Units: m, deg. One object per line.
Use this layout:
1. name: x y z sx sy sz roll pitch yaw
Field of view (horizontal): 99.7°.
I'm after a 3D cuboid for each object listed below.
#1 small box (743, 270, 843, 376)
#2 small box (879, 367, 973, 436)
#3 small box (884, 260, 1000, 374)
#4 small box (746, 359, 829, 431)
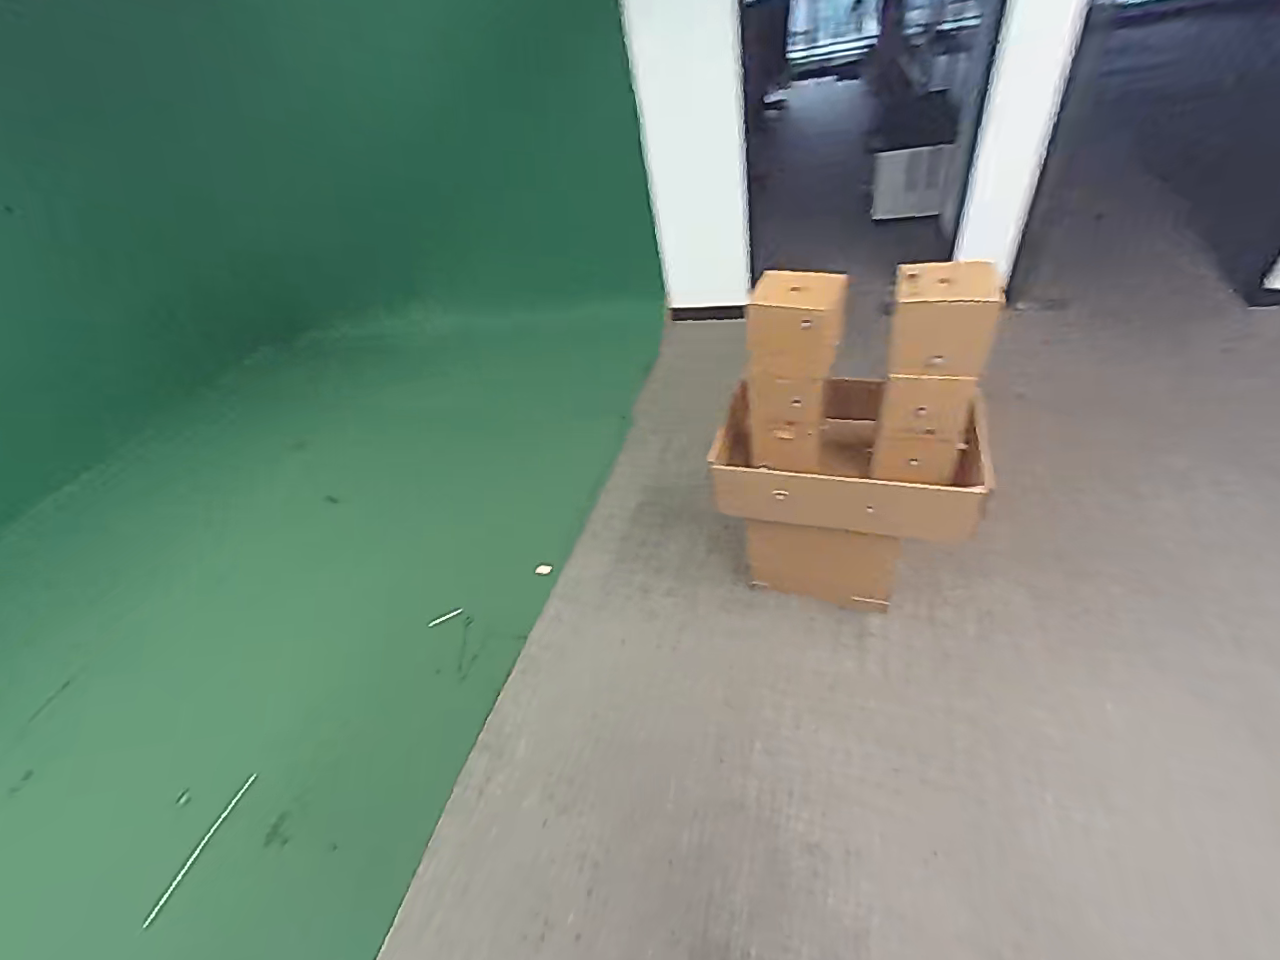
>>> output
1. small box: 0.343 -0.353 1.218 0.179 0.176 0.168 14 49 24
2. small box: 0.643 -0.216 1.228 0.168 0.176 0.179 6 47 21
3. small box: 0.615 -0.335 1.116 0.179 0.176 0.168 7 47 22
4. small box: 0.368 -0.240 1.332 0.168 0.176 0.179 11 48 24
